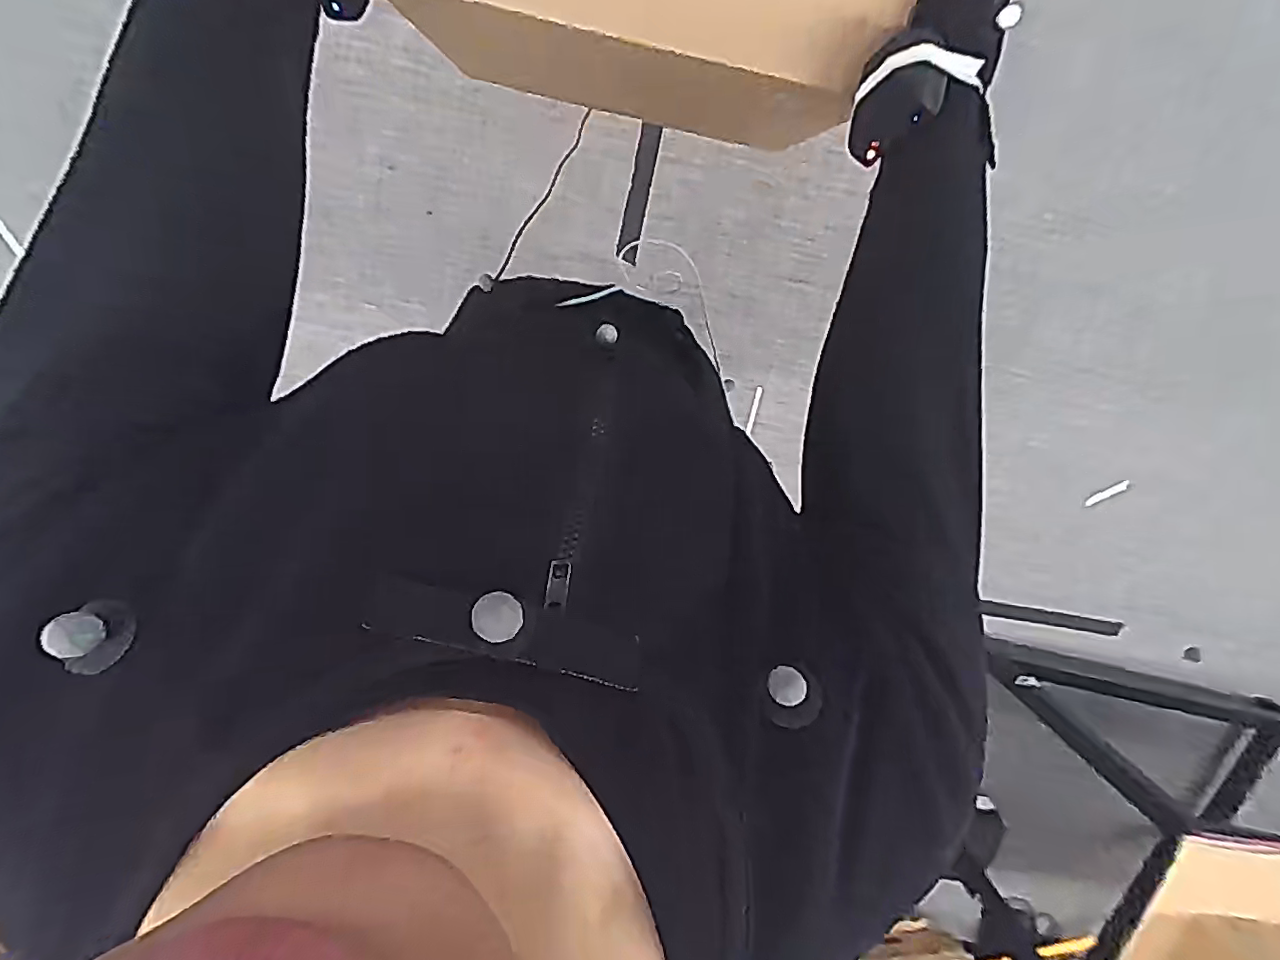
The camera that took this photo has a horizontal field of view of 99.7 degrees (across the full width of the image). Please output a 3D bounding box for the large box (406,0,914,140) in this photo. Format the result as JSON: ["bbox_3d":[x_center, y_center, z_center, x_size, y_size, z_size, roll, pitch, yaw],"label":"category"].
[{"bbox_3d":[0.021,-0.534,0.477,0.408,0.320,0.320,9,116,-7],"label":"large box"}]
